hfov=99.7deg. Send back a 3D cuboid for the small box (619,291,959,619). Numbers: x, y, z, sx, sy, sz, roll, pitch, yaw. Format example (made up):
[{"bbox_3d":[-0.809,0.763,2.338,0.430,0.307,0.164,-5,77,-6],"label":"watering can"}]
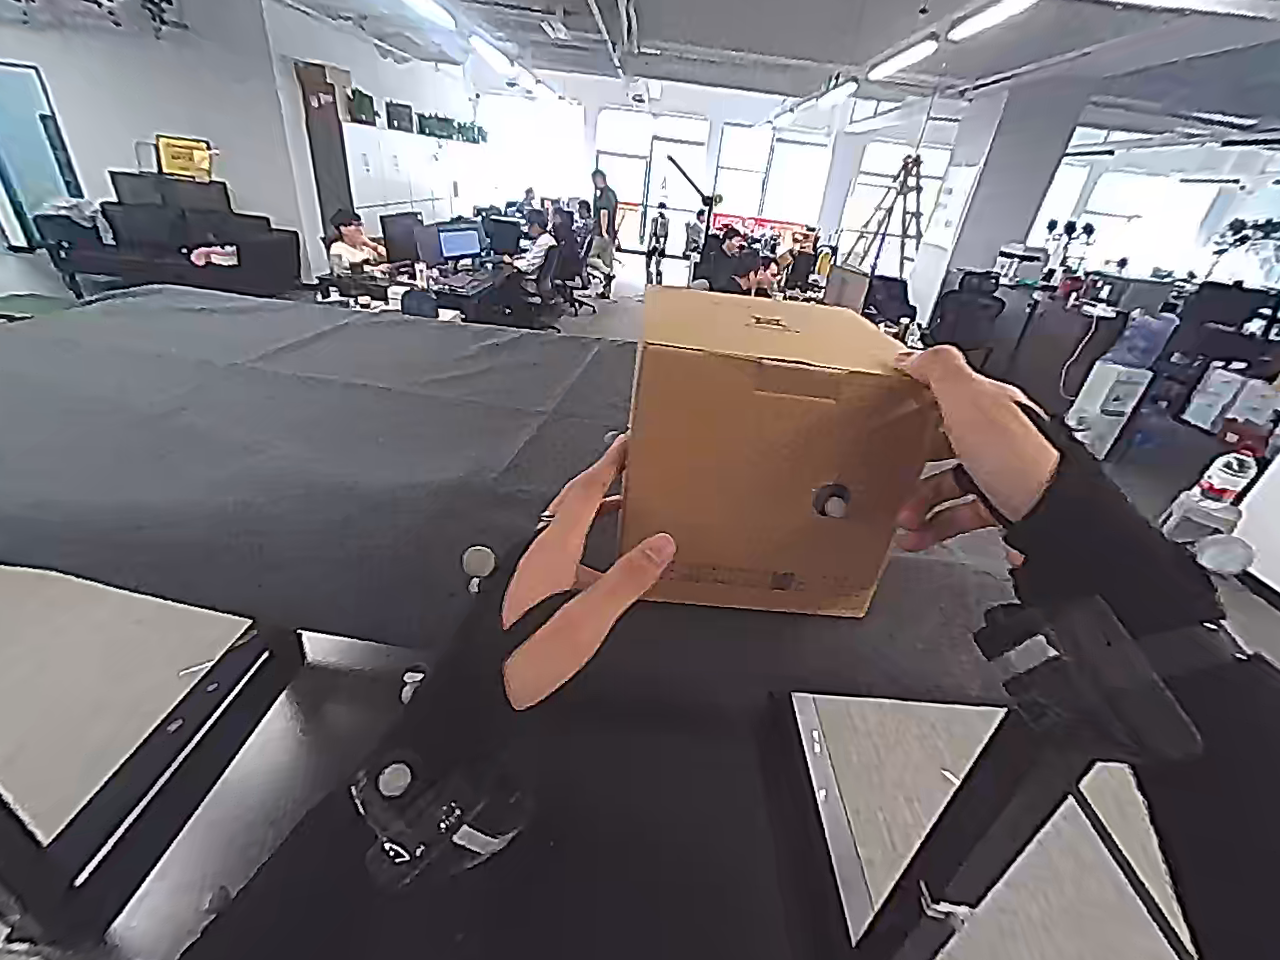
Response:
[{"bbox_3d":[0.076,-0.024,0.382,0.168,0.176,0.179,6,29,-3],"label":"small box"}]
